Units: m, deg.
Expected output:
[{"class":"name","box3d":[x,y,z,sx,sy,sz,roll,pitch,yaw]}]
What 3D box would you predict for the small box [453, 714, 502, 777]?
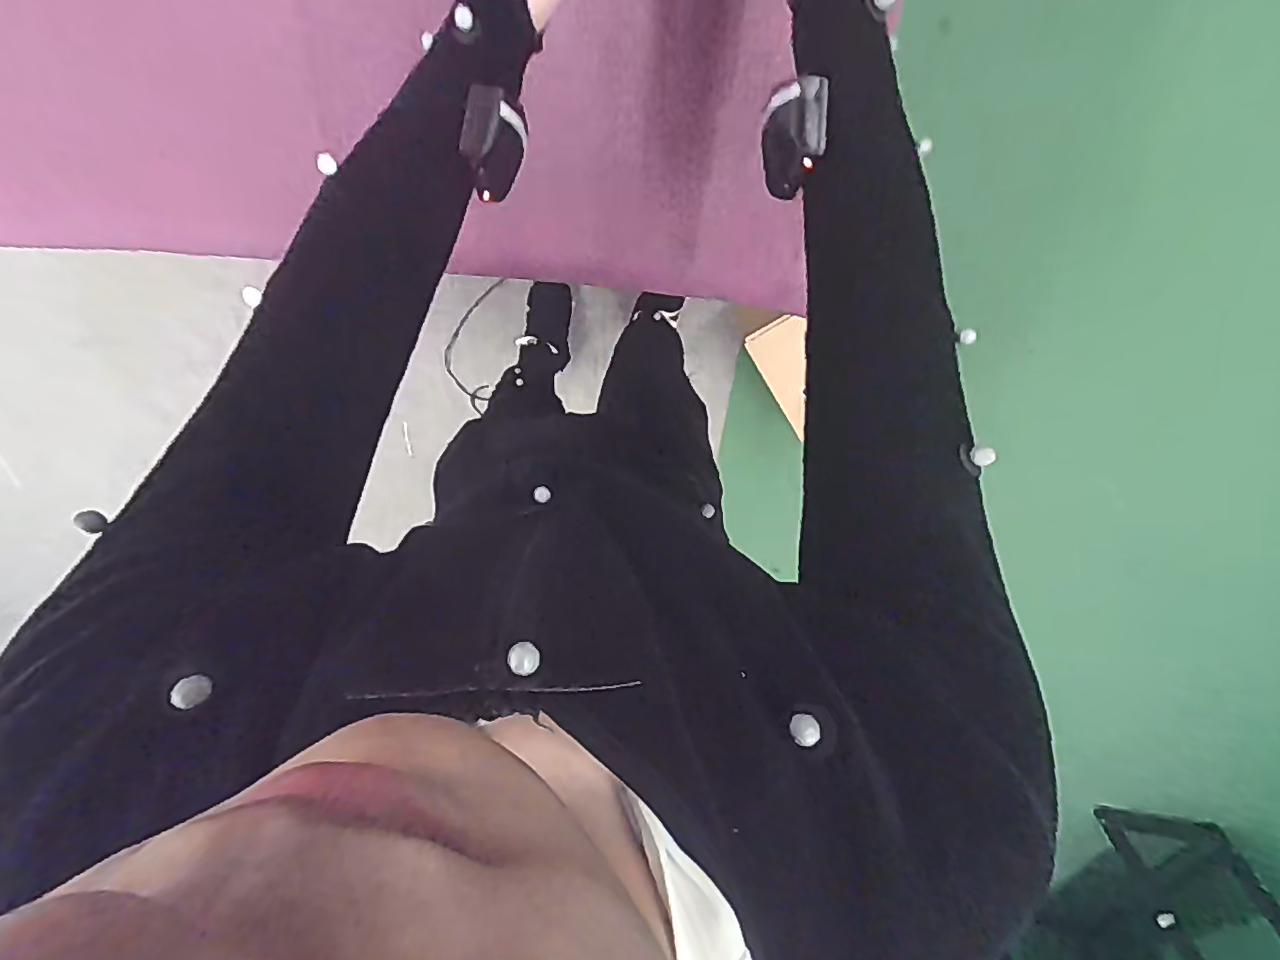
[{"class":"small box","box3d":[-0.727,1.192,2.429,0.168,0.176,0.179,13,122,1]}]
